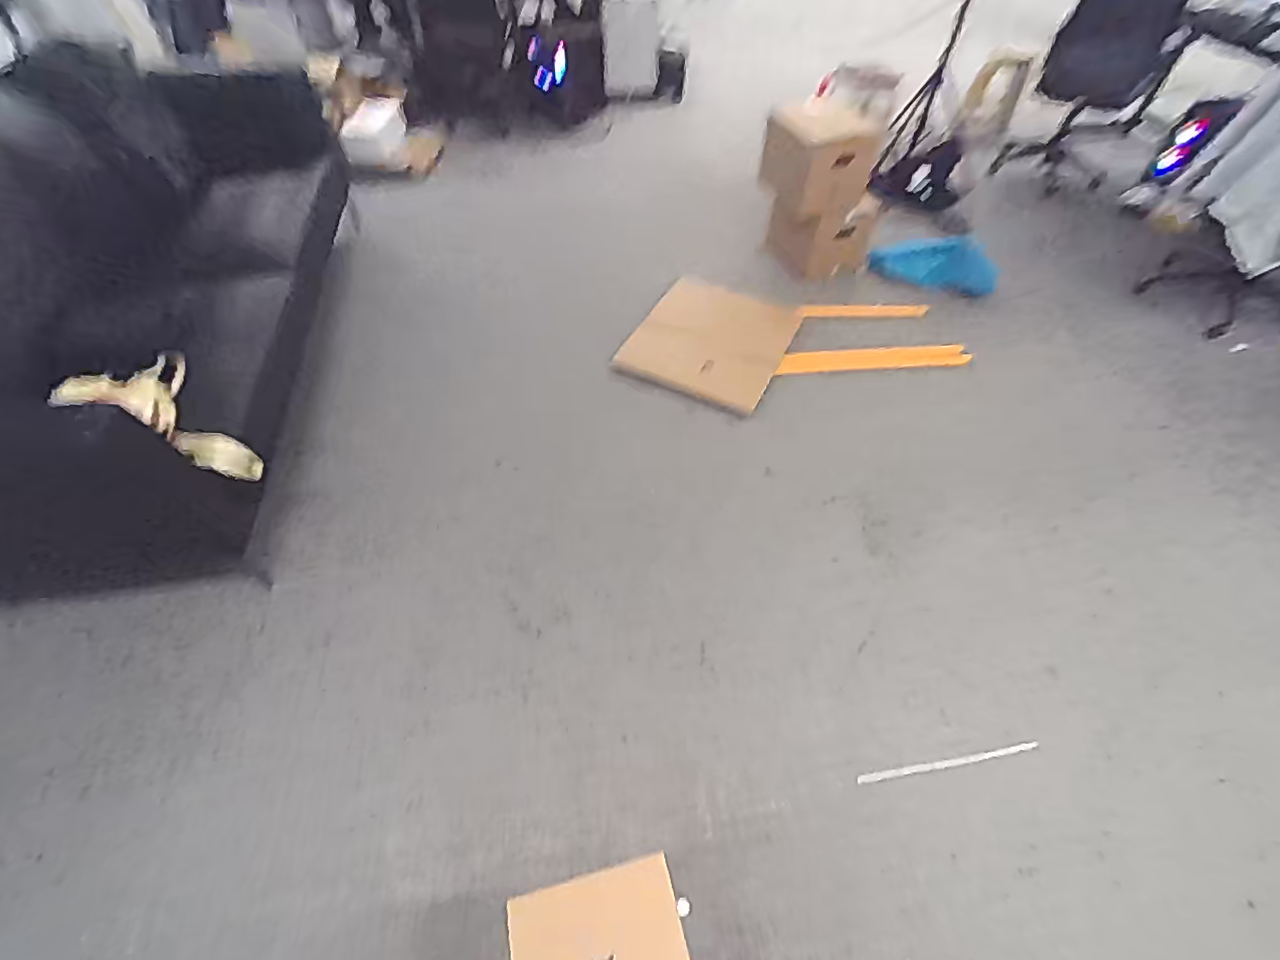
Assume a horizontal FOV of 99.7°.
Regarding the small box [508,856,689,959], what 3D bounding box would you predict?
[{"bbox_3d":[-0.035,0.519,0.542,0.168,0.176,0.179,-9,45,-11],"label":"small box"}]
